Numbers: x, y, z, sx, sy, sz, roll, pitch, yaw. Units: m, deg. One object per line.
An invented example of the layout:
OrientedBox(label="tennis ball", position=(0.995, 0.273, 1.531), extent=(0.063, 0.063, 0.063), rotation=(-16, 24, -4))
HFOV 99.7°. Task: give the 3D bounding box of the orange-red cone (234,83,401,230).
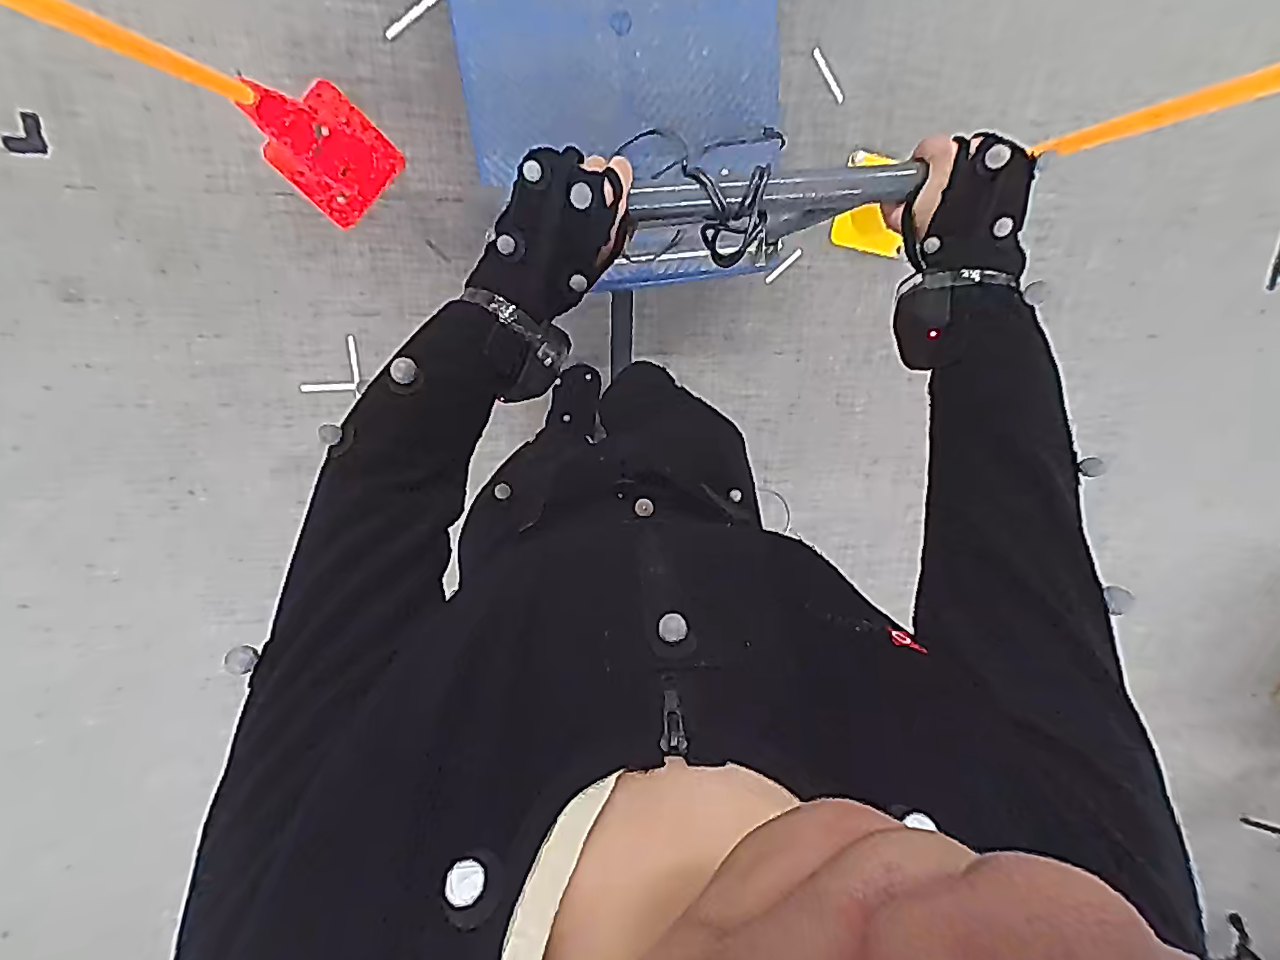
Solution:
OrientedBox(label="orange-red cone", position=(-0.578, -0.585, 0.914), extent=(0.199, 0.360, 0.198), rotation=(-45, 110, 4))
